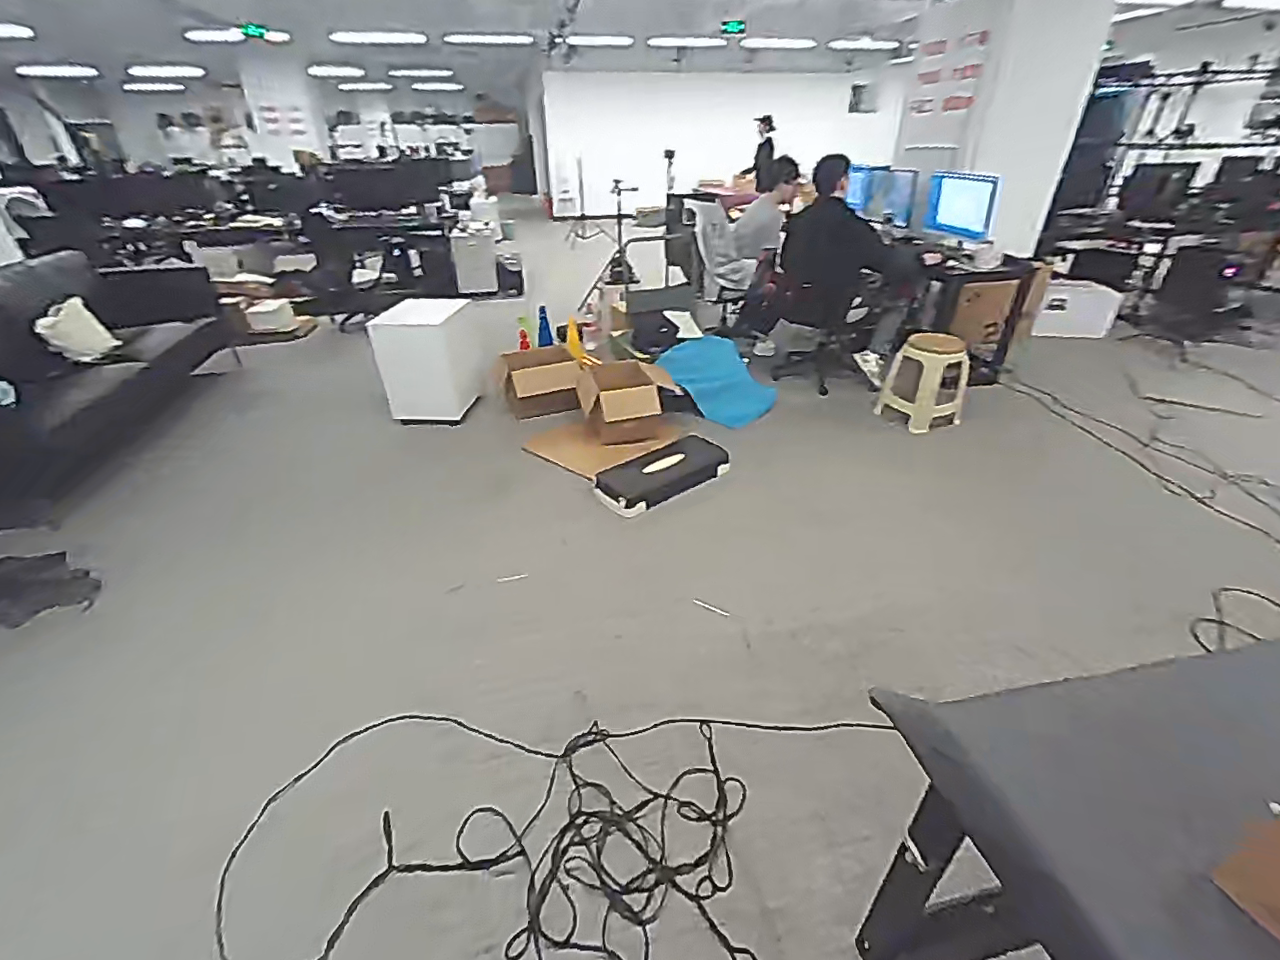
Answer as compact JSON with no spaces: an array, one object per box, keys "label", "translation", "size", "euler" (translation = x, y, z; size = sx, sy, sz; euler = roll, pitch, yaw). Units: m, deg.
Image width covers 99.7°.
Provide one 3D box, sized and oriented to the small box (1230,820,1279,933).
[{"label":"small box","translation":[0.707,0.378,0.484],"size":[0.179,0.176,0.168],"euler":[-9,34,-16]}]
